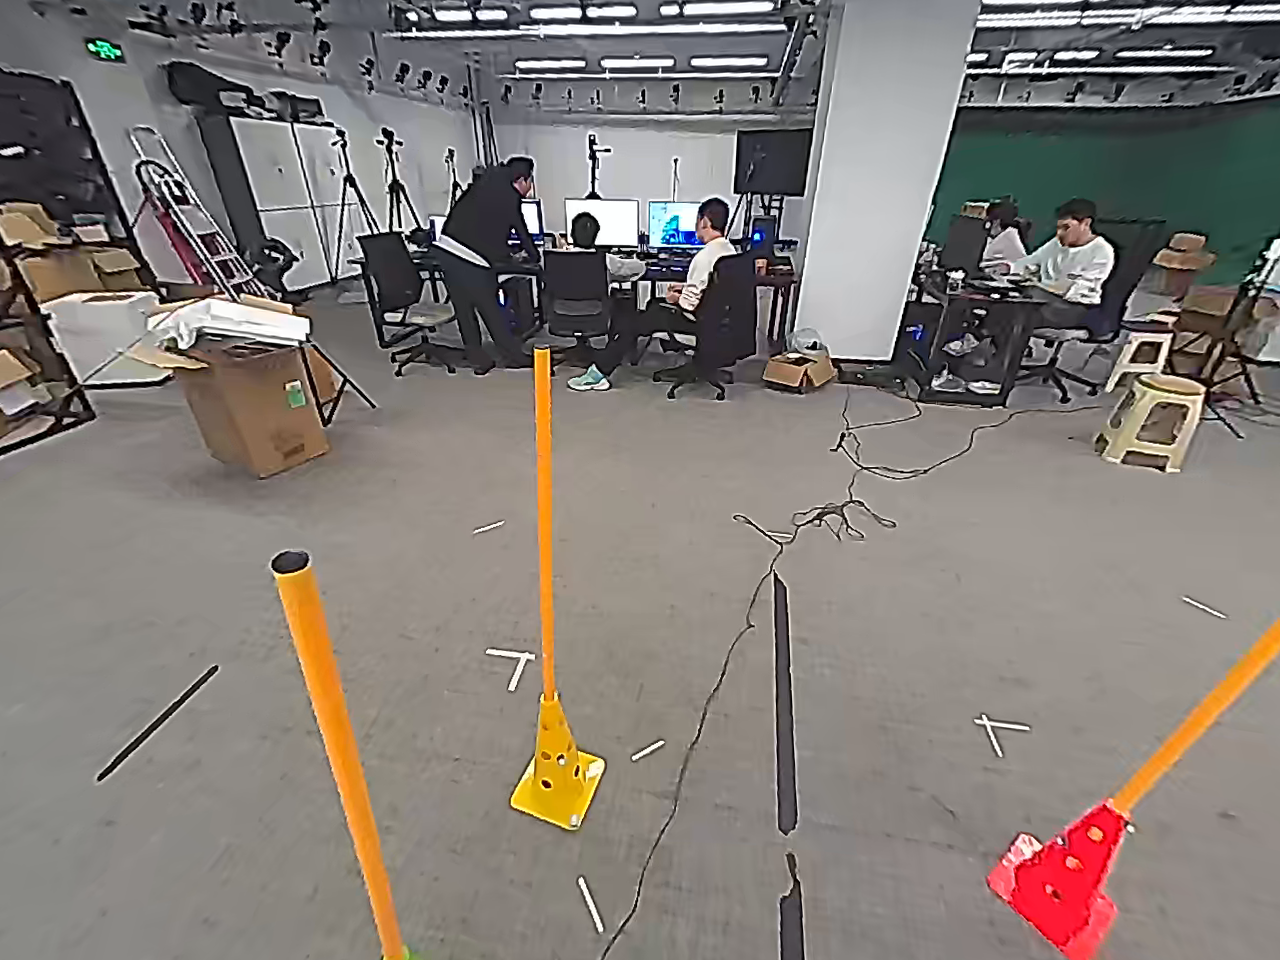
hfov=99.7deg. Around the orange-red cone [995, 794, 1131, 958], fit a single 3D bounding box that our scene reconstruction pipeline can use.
[{"bbox_3d":[0.944,0.786,1.145,0.199,0.360,0.198,-19,34,-28],"label":"orange-red cone"}]
